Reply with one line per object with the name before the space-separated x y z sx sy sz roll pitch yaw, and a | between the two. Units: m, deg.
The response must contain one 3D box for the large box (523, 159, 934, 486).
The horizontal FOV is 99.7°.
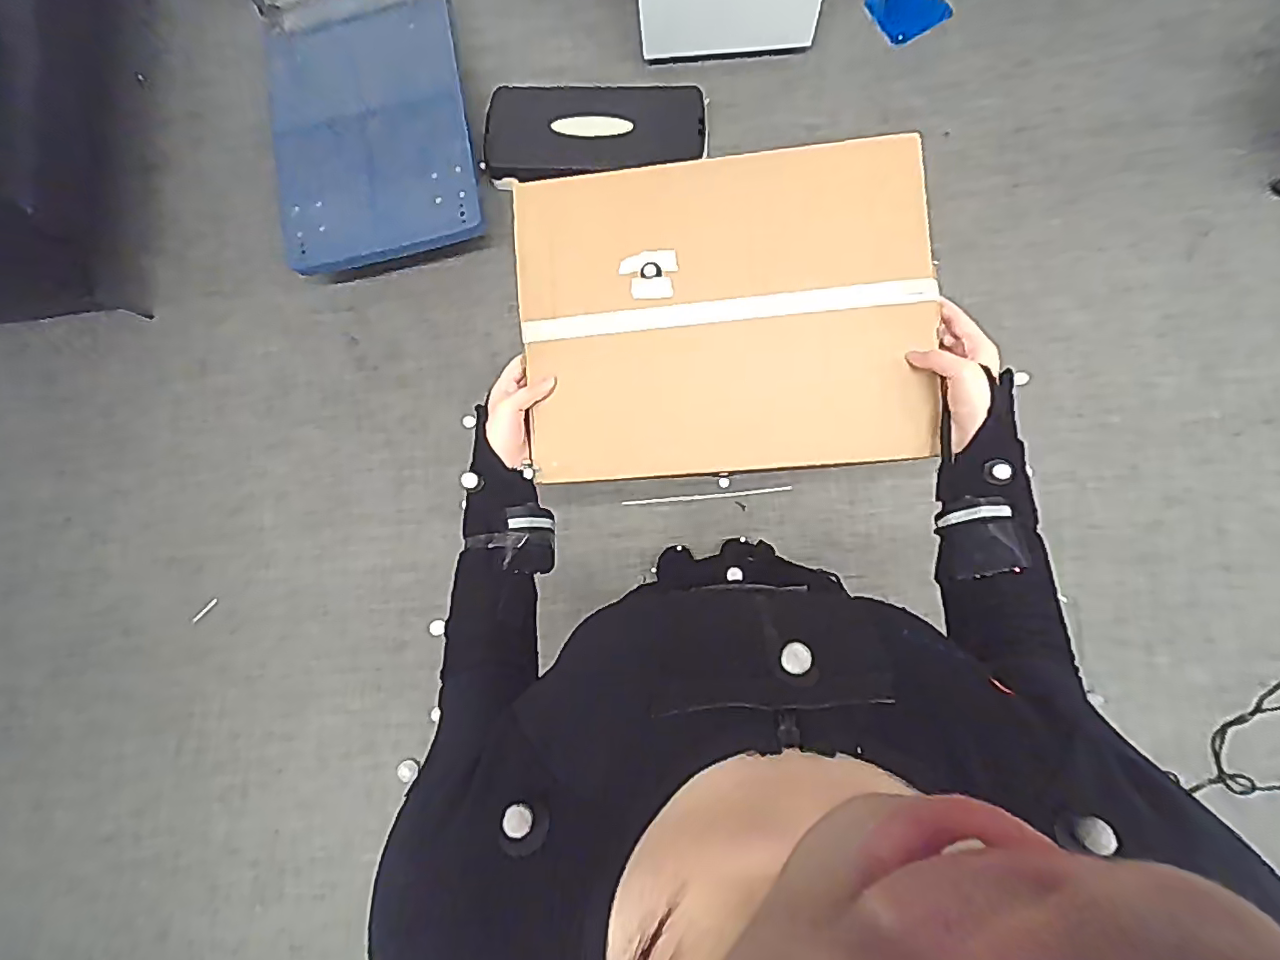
large box | 0.097 -0.197 0.702 0.408 0.320 0.320 7 105 10
